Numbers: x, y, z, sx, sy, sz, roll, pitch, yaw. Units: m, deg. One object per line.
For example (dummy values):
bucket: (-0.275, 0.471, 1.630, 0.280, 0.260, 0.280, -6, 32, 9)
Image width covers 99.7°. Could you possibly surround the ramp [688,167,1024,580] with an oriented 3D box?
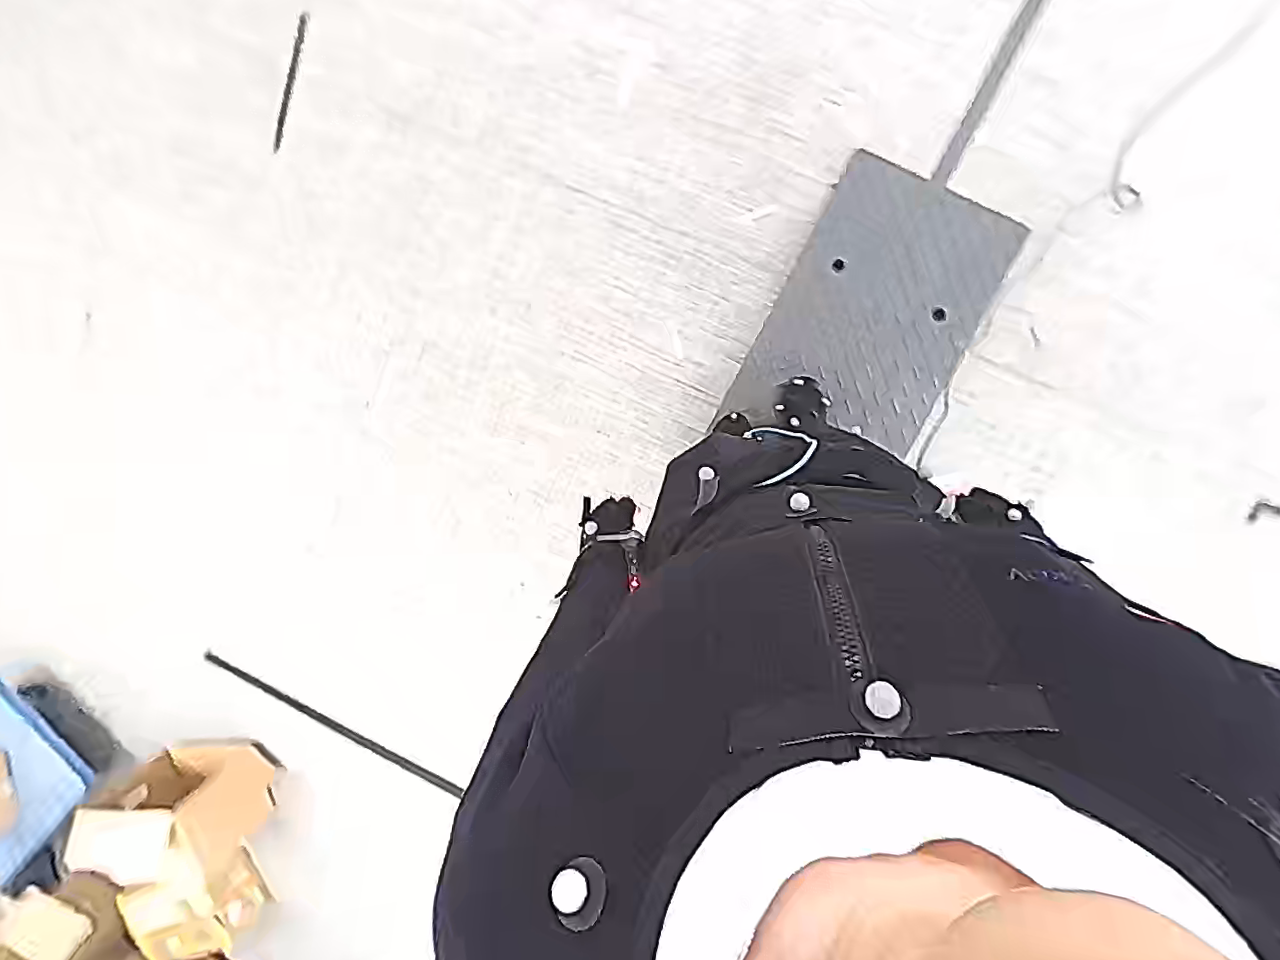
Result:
ramp: (0.555, -0.285, 1.426, 0.509, 0.206, 0.991, 25, 102, 7)
